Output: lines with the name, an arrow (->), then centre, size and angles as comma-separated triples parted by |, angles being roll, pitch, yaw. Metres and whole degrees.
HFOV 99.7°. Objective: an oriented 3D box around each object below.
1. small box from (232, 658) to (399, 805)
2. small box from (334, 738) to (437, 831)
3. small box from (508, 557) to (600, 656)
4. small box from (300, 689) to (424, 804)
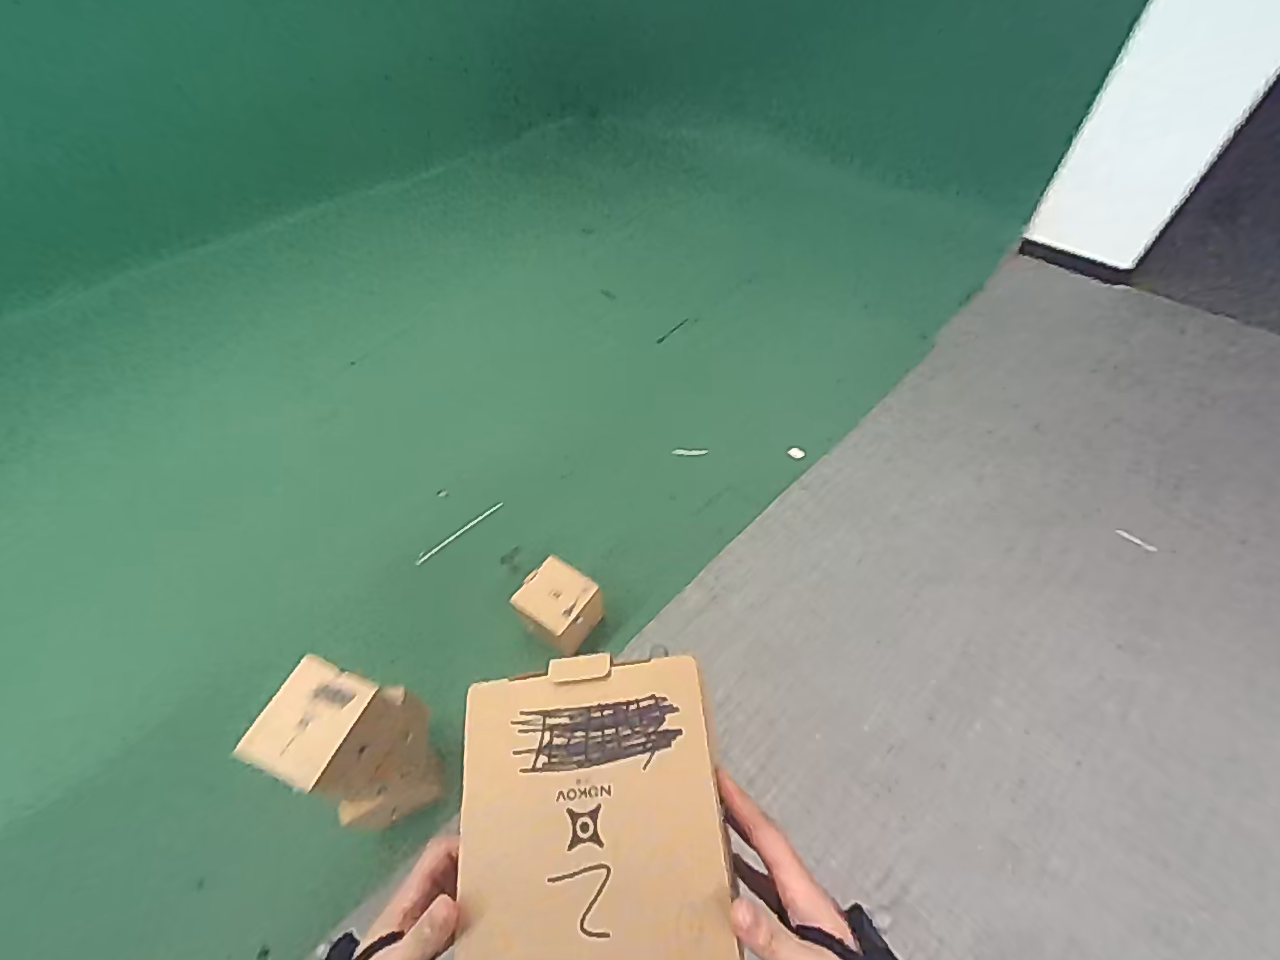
small box -> -0.568, 0.459, 0.983 | 0.168, 0.176, 0.179 | 17, 55, 13
small box -> -0.583, 0.670, 1.233 | 0.168, 0.176, 0.179 | -24, 55, -17
small box -> -0.227, 0.350, 1.475 | 0.179, 0.176, 0.168 | 28, 57, 22
small box -> -0.559, 0.556, 1.117 | 0.168, 0.176, 0.179 | -6, 52, -6
